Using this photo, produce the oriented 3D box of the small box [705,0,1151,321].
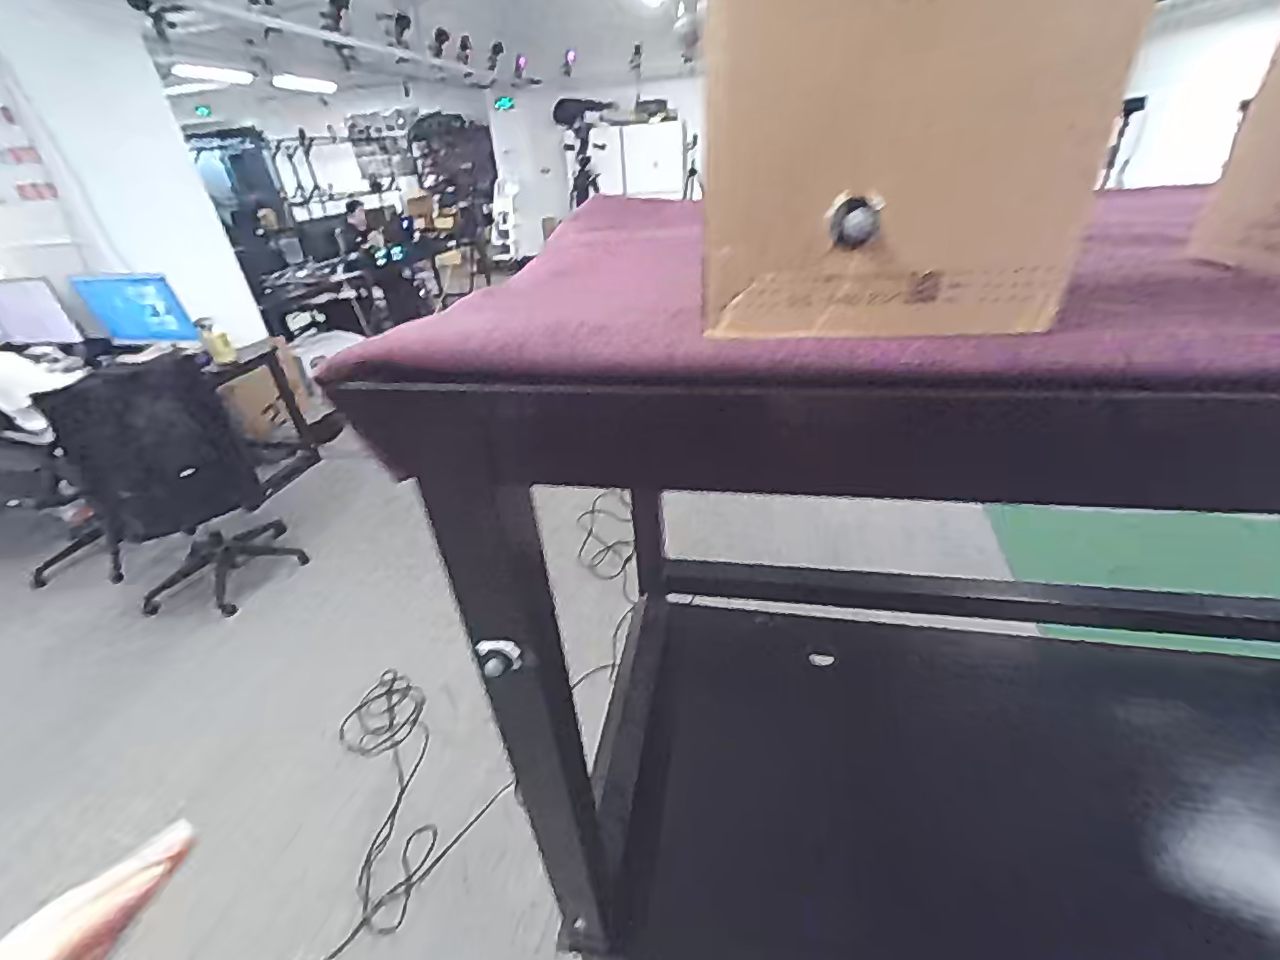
[{"bbox_3d":[0.123,-0.195,0.301,0.168,0.176,0.179,1,31,8],"label":"small box"}]
